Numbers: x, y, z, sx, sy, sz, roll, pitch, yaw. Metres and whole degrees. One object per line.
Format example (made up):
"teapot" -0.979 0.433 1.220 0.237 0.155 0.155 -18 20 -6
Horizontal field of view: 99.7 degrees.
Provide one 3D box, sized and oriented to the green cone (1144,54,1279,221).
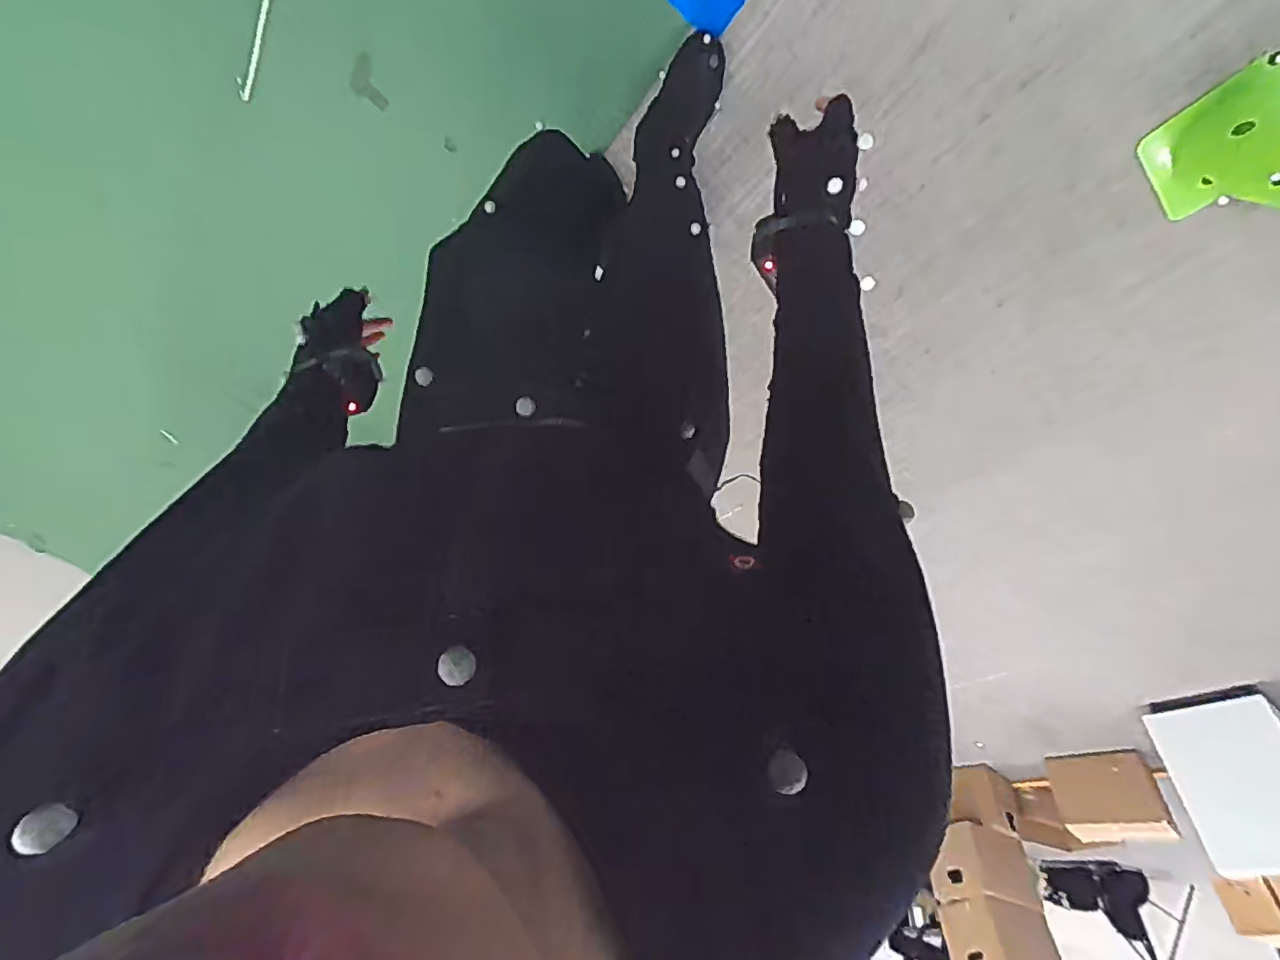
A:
"green cone" 1.010 -0.470 0.836 0.202 0.368 0.200 34 132 -22
